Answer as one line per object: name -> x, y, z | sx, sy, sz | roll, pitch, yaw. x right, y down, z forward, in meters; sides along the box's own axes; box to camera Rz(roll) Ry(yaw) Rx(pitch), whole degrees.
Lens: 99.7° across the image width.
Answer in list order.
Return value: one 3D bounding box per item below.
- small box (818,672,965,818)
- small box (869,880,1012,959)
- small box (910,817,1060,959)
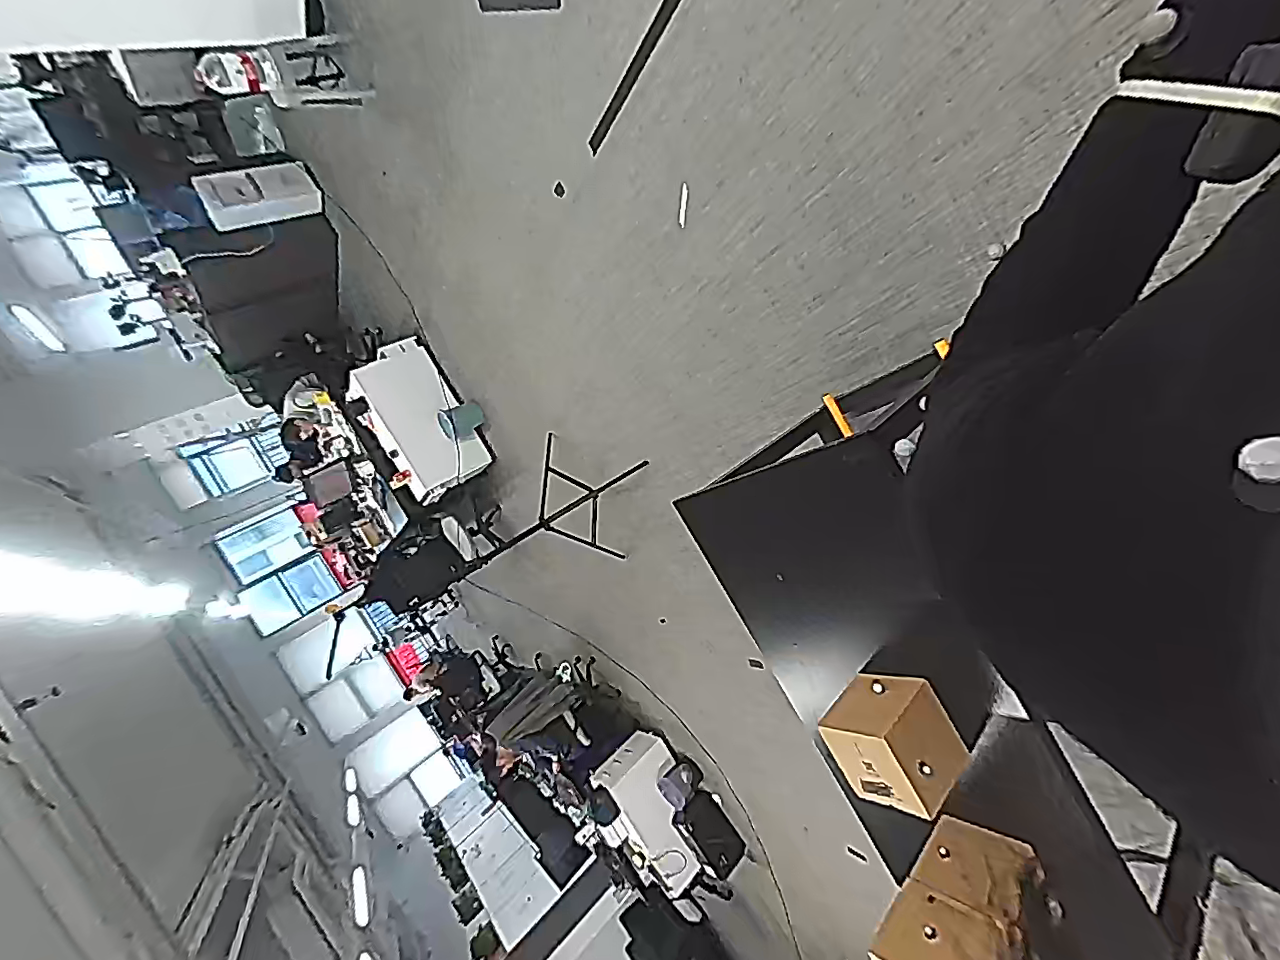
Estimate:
small box -> 0.496, 0.508, 1.063 | 0.179, 0.176, 0.168 | 60, 149, -2
small box -> 0.567, 0.900, 0.998 | 0.179, 0.176, 0.168 | 60, 150, -6
small box -> 0.687, 0.818, 1.077 | 0.179, 0.176, 0.168 | -20, 102, 58
